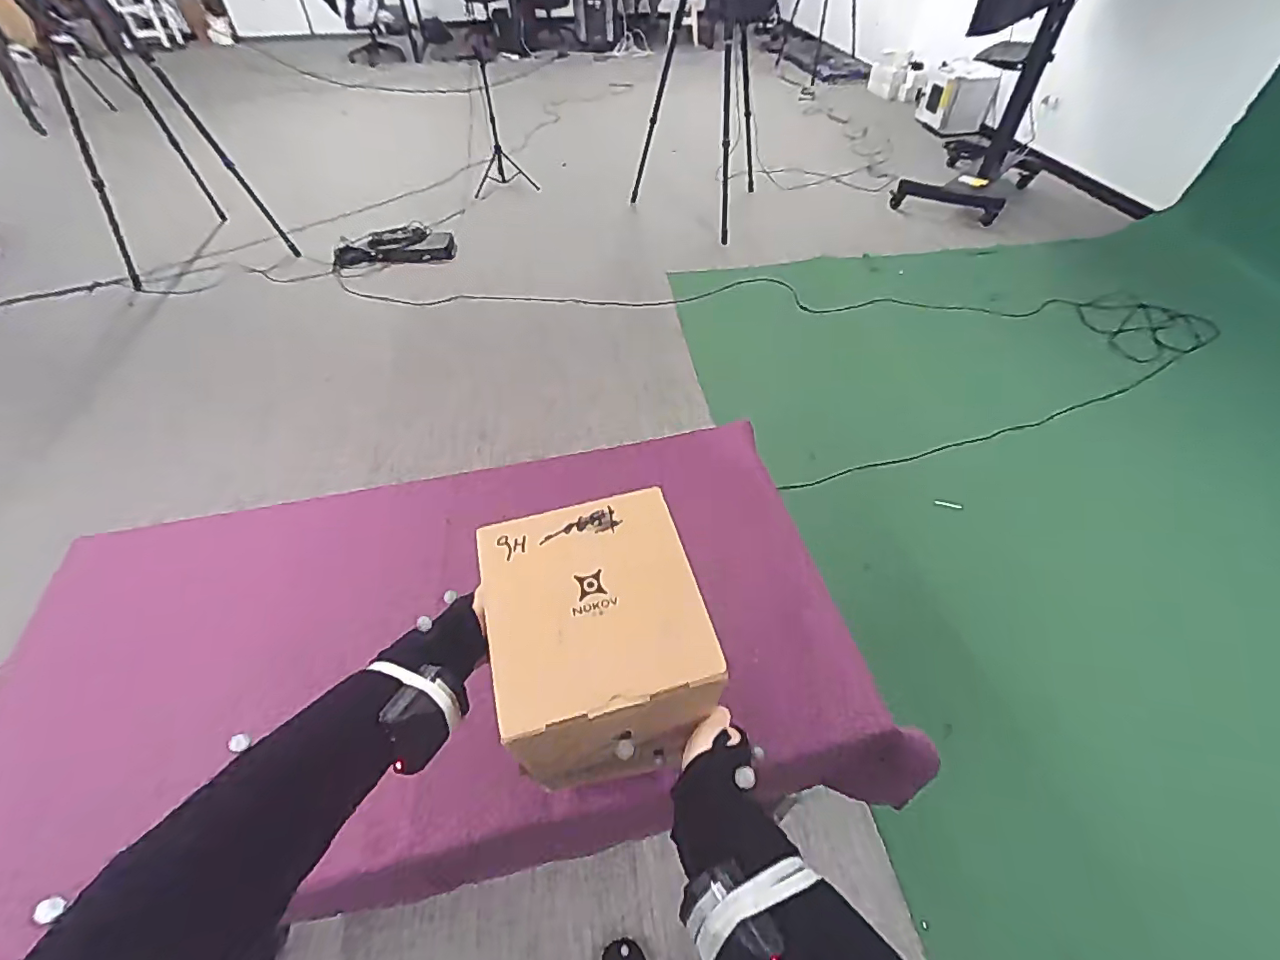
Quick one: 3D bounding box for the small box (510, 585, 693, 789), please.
[{"bbox_3d":[-0.045,0.243,0.625,0.179,0.176,0.168,-8,54,-6],"label":"small box"}]
